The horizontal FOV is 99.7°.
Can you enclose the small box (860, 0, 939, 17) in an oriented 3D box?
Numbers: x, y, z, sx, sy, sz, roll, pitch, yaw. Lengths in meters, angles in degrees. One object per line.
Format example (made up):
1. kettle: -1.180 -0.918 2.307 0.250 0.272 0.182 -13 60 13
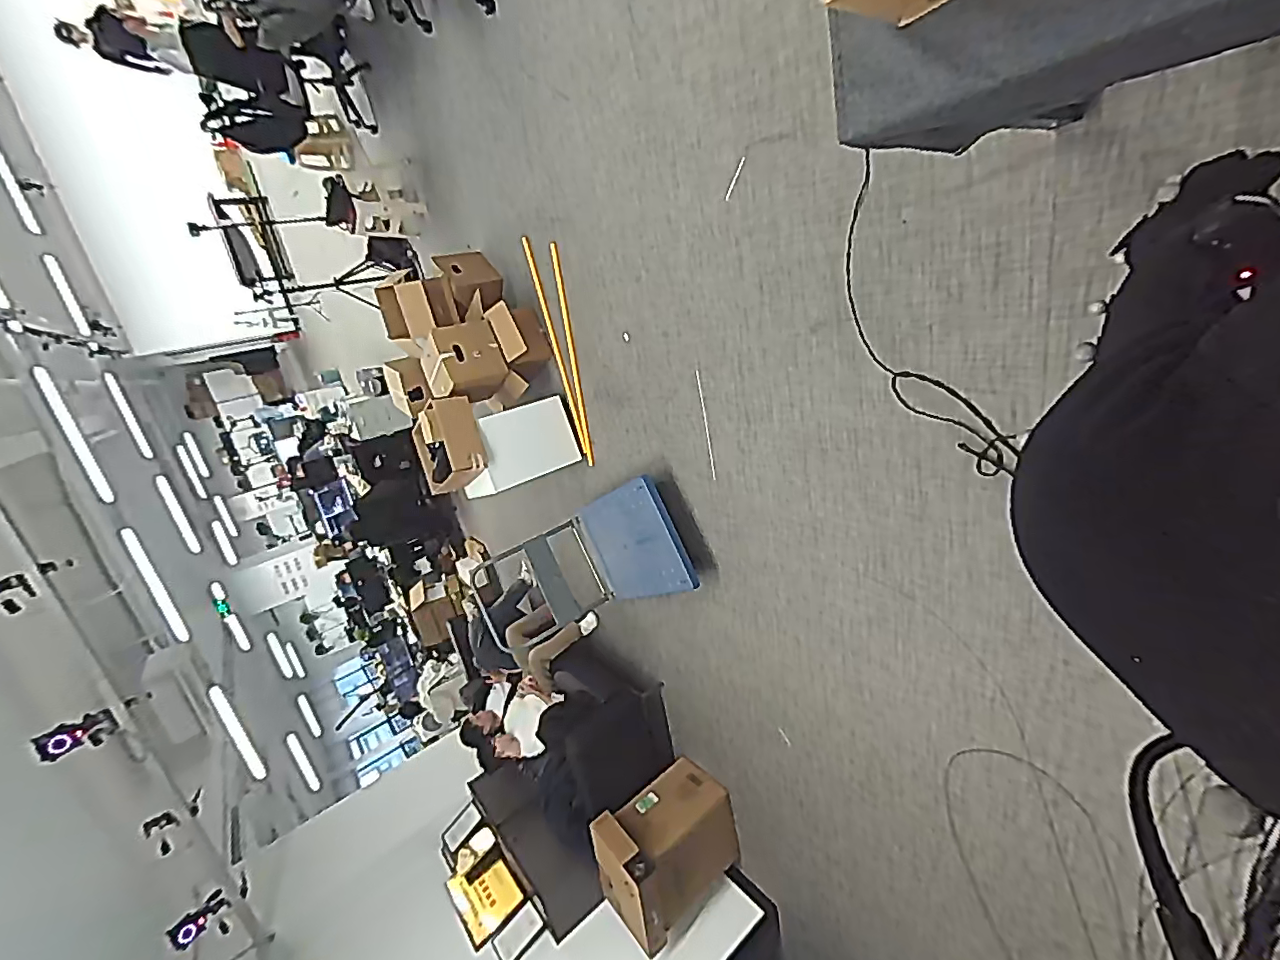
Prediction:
1. small box: 0.285 -0.602 0.526 0.168 0.176 0.179 10 118 52
